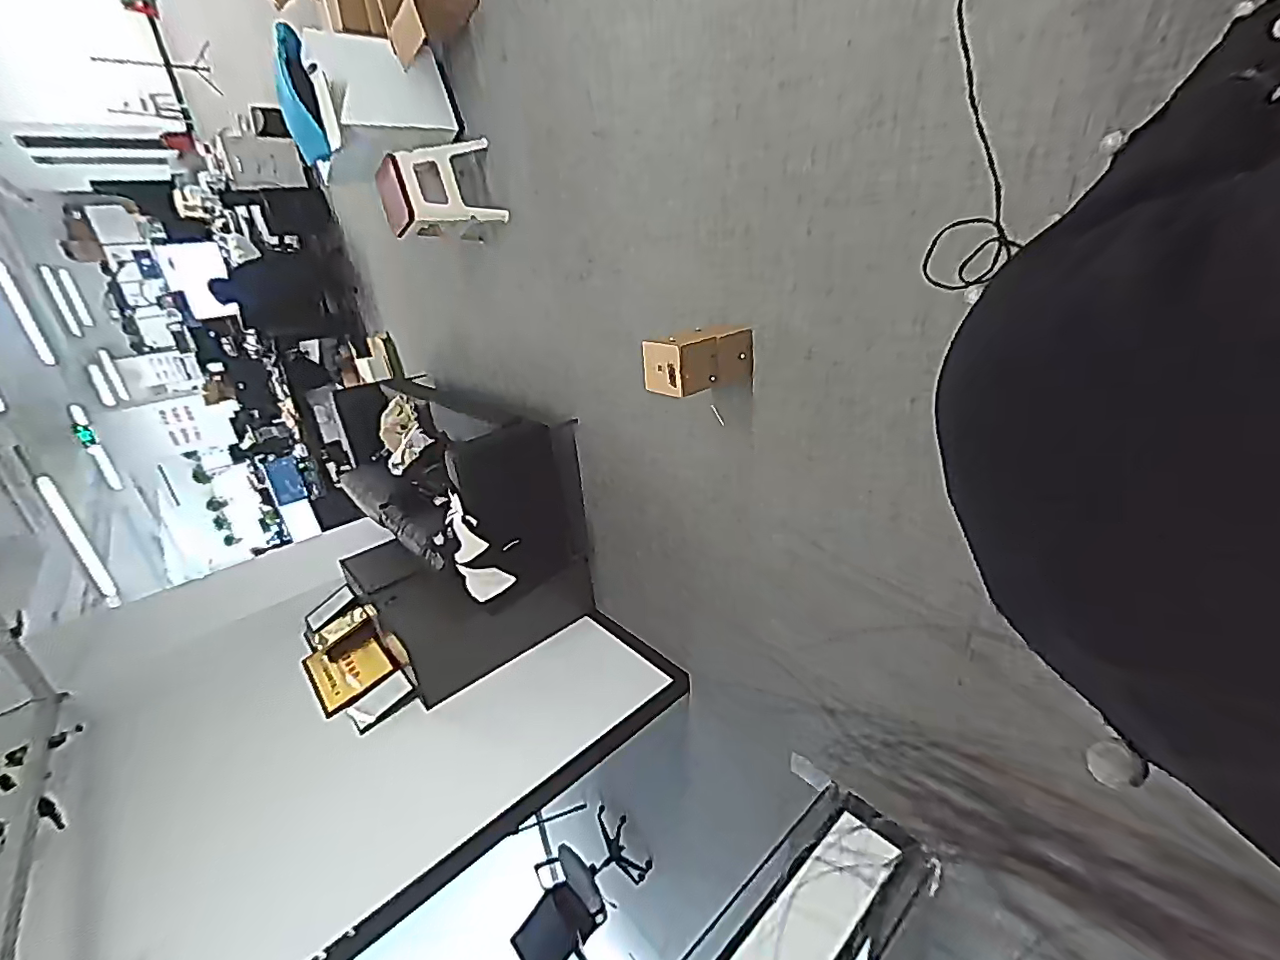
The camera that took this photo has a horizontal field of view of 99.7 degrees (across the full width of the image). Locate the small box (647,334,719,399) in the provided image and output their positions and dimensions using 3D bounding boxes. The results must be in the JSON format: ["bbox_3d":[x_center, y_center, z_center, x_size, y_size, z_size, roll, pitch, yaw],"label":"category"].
[{"bbox_3d":[0.146,-0.376,1.769,0.179,0.176,0.168,22,127,46],"label":"small box"}]

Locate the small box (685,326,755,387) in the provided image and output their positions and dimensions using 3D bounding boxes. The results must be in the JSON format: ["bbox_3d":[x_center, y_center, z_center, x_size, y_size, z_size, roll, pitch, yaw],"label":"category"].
[{"bbox_3d":[0.274,-0.429,1.857,0.179,0.176,0.168,23,127,44],"label":"small box"}]
